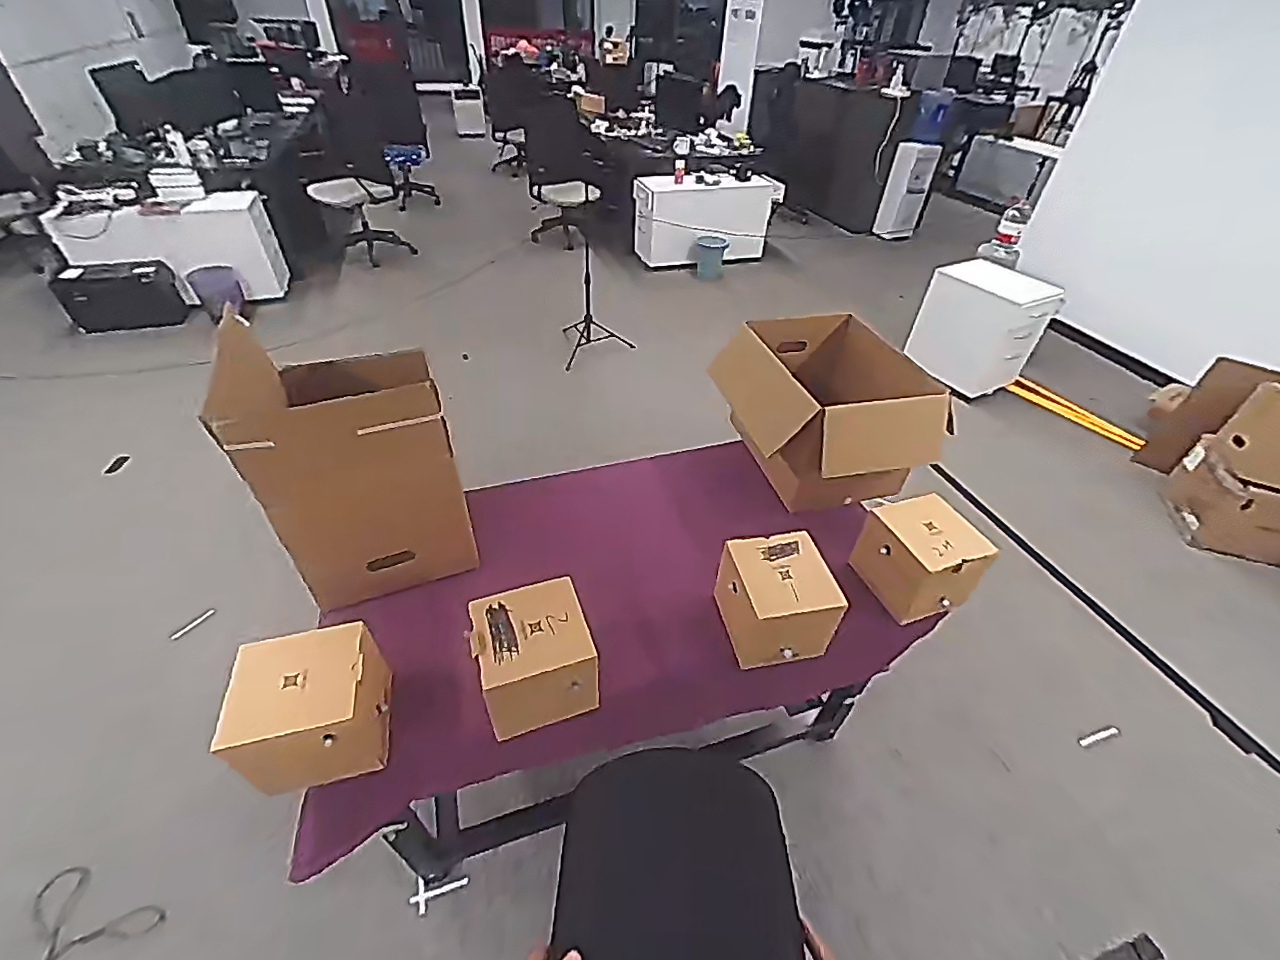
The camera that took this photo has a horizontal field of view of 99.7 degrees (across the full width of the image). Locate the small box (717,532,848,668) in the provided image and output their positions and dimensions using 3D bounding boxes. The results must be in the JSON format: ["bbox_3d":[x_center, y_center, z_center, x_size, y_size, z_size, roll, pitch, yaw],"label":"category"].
[{"bbox_3d":[0.254,0.225,1.017,0.168,0.176,0.179,-6,44,-10],"label":"small box"}]

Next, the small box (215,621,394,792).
[{"bbox_3d":[-0.497,0.349,0.833,0.179,0.176,0.168,-8,43,-14],"label":"small box"}]

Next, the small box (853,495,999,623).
[{"bbox_3d":[0.569,0.160,1.105,0.168,0.176,0.179,-12,44,-14],"label":"small box"}]
